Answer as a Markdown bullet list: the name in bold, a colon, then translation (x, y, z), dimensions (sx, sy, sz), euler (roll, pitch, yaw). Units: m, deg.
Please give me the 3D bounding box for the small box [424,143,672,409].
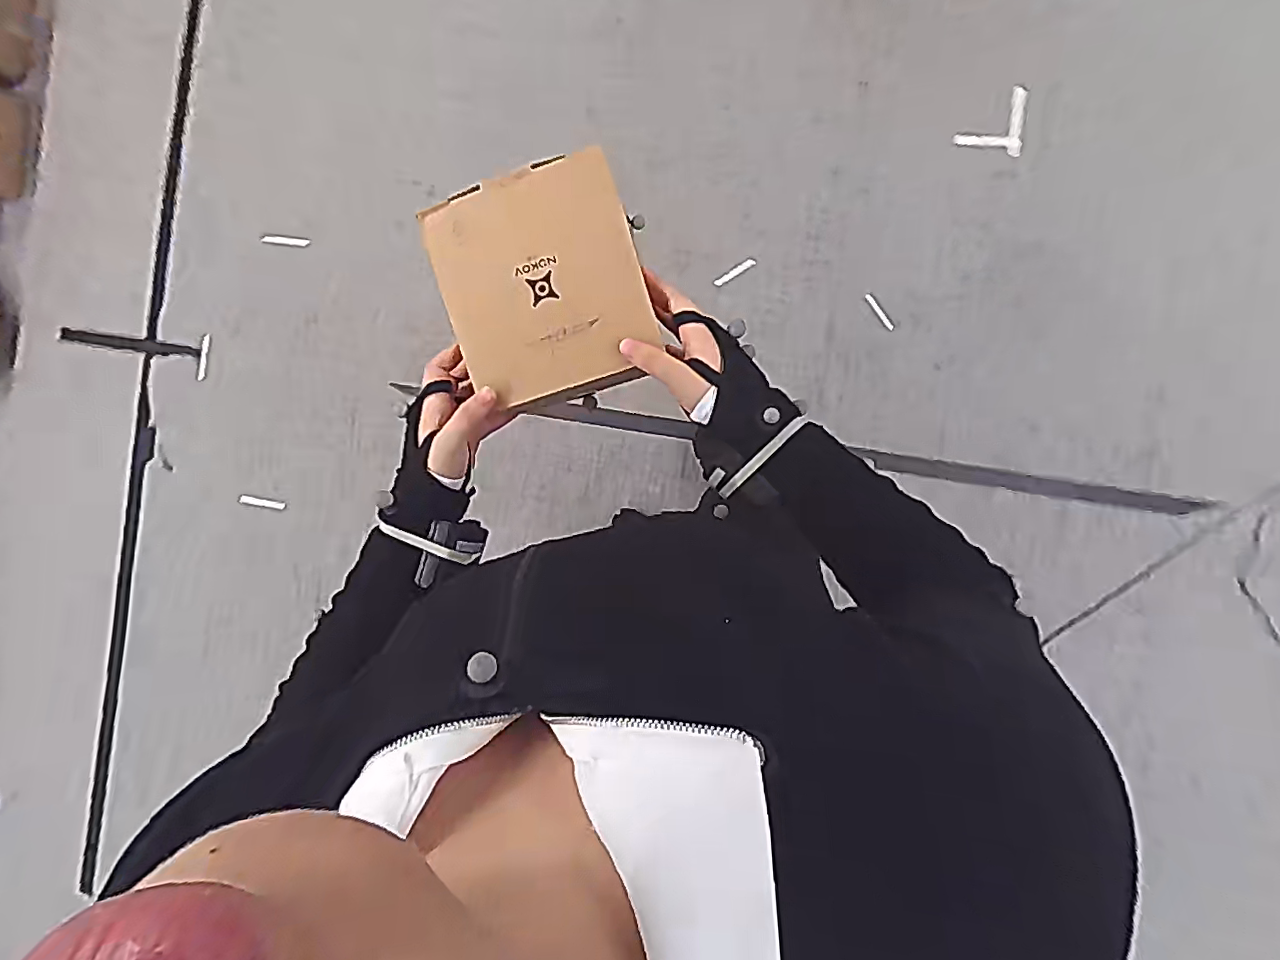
- **small box**: translation (-0.070, -0.172, 0.517), dimensions (0.168, 0.176, 0.179), euler (-15, 97, 7)
